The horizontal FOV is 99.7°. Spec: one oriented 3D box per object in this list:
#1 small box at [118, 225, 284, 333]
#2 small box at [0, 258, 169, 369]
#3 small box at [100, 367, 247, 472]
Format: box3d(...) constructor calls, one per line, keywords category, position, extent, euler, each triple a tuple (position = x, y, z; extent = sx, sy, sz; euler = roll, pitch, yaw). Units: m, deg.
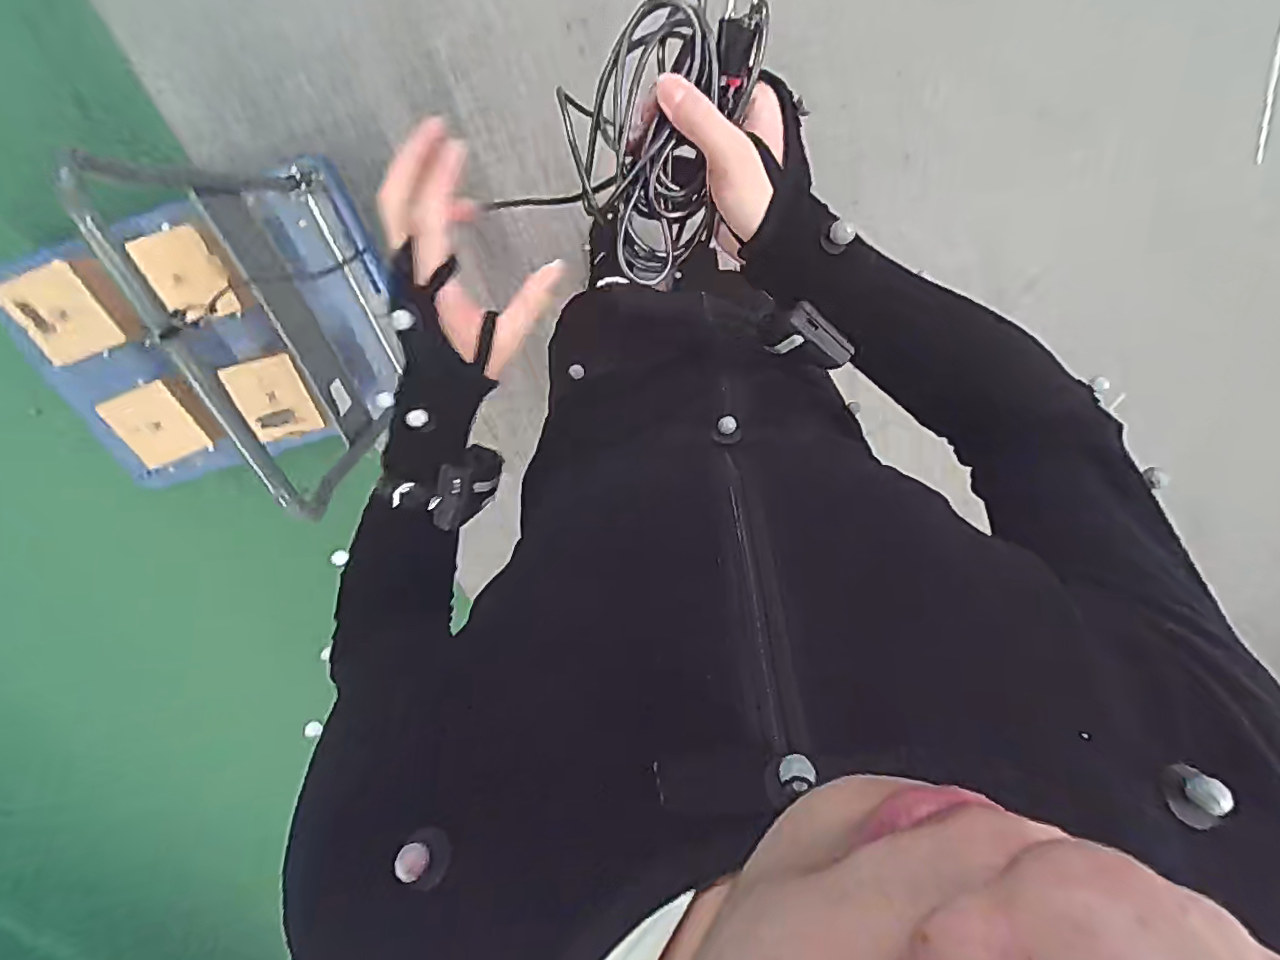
box3d(category="small box", position=(-0.910, -0.428, 1.142), extent=(0.179, 0.176, 0.168), euler=(-16, 118, 4))
box3d(category="small box", position=(-1.166, -0.361, 1.160), extent=(0.179, 0.176, 0.168), euler=(-19, 119, 5))
box3d(category="small box", position=(-1.081, -0.149, 1.279), extent=(0.179, 0.176, 0.168), euler=(-20, 117, 7))
